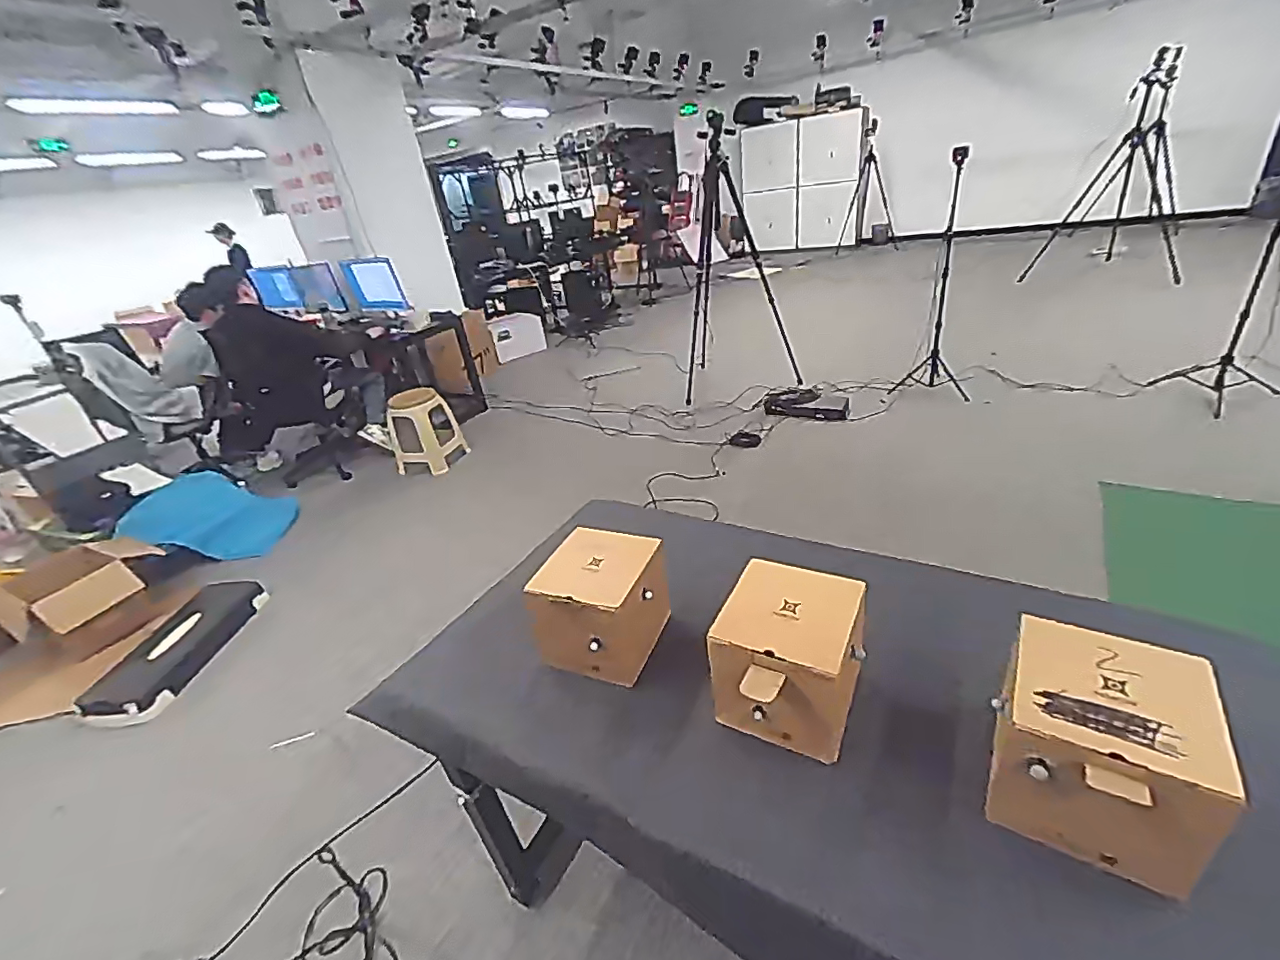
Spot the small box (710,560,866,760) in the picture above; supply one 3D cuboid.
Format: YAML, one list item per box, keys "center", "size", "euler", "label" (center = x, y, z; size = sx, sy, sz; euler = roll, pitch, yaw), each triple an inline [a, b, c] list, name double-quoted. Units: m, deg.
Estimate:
- center: [0.208, 0.243, 0.756]
  size: [0.168, 0.176, 0.179]
  euler: [9, 34, 29]
  label: "small box"

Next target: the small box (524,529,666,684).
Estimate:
- center: [-0.062, 0.206, 0.899]
  size: [0.168, 0.176, 0.179]
  euler: [7, 31, 23]
  label: "small box"
